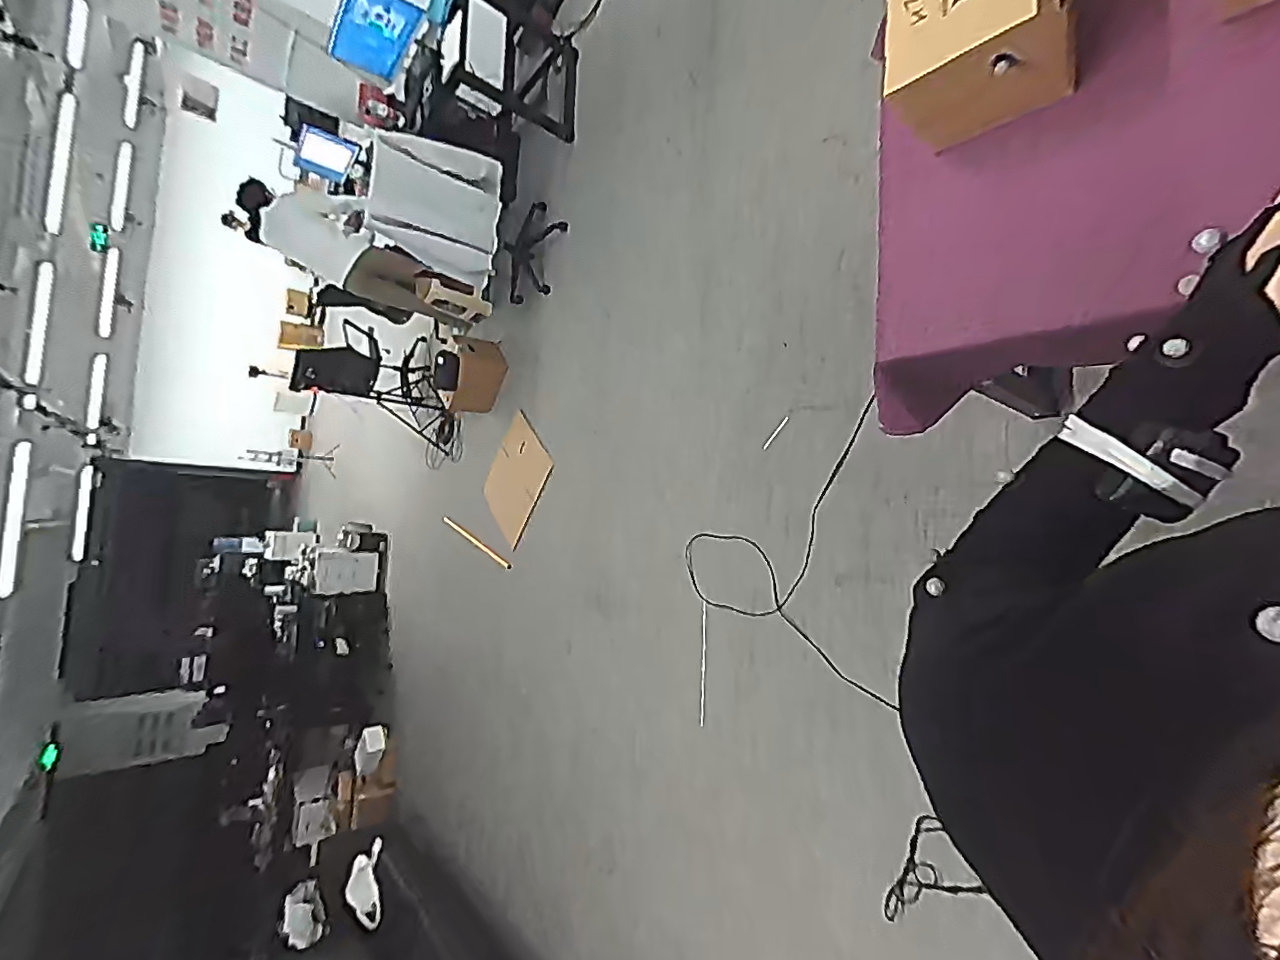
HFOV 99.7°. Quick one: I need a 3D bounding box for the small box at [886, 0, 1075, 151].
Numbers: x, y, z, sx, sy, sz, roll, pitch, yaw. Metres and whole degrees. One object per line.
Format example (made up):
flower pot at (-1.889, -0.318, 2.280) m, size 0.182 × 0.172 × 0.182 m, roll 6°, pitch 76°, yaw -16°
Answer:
small box at (0.458, -0.591, 0.726) m, size 0.179 × 0.176 × 0.168 m, roll 1°, pitch 85°, yaw 51°
